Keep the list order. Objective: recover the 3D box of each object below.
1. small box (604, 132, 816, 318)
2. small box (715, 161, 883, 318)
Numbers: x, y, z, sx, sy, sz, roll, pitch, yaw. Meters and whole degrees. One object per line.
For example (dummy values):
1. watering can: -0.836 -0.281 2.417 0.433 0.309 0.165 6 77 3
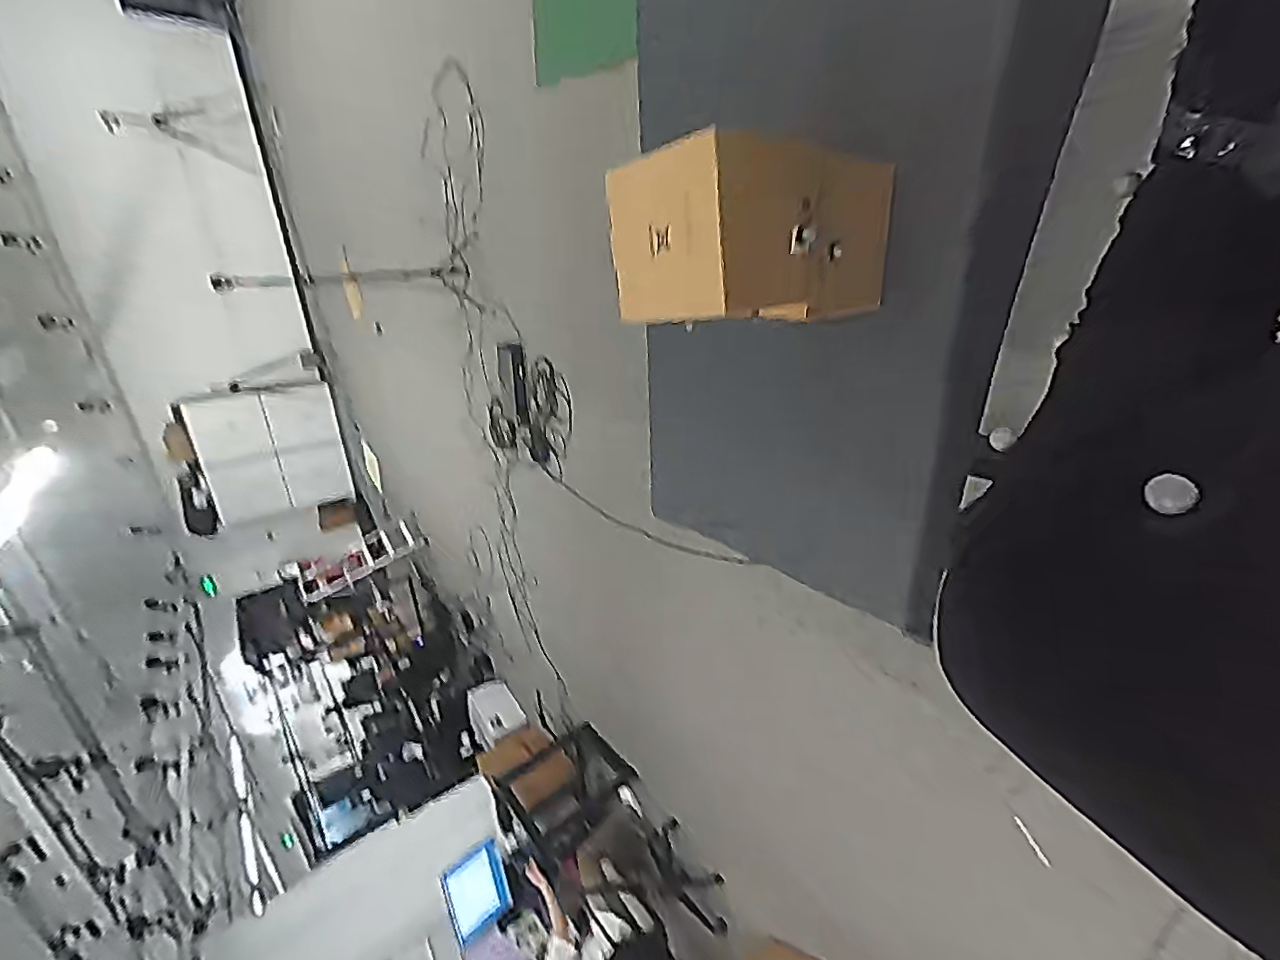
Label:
1. small box: 0.083 -0.286 0.636 0.179 0.176 0.168 15 120 50
2. small box: 0.207 -0.323 0.734 0.168 0.176 0.179 22 123 48
